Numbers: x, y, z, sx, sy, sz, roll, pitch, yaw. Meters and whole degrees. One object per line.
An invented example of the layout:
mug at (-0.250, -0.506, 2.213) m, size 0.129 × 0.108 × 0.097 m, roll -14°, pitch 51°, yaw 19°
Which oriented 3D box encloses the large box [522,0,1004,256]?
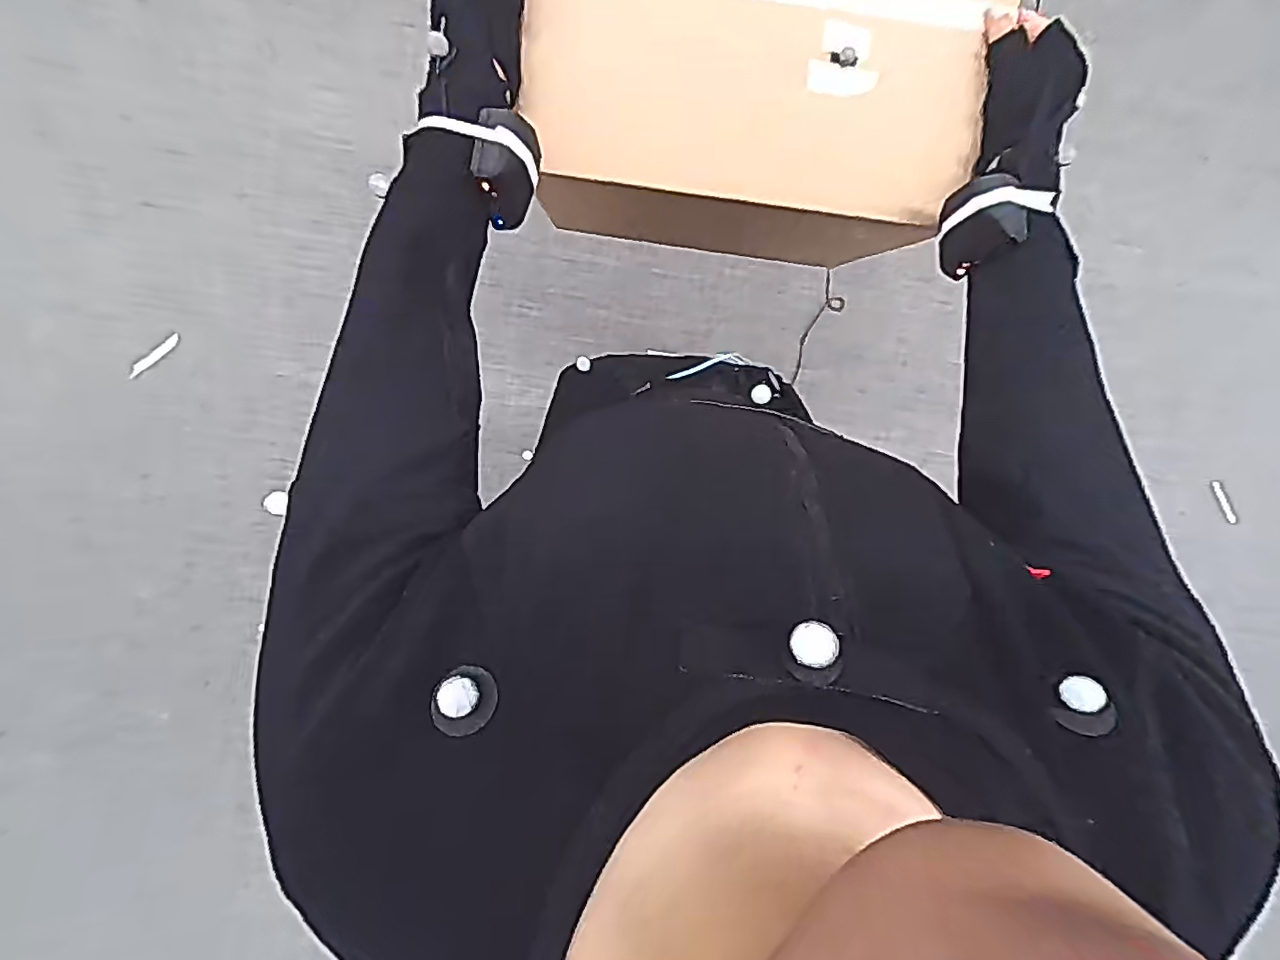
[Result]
large box at (0.100, -0.446, 0.588) m, size 0.408 × 0.320 × 0.320 m, roll 6°, pitch 106°, yaw -4°
